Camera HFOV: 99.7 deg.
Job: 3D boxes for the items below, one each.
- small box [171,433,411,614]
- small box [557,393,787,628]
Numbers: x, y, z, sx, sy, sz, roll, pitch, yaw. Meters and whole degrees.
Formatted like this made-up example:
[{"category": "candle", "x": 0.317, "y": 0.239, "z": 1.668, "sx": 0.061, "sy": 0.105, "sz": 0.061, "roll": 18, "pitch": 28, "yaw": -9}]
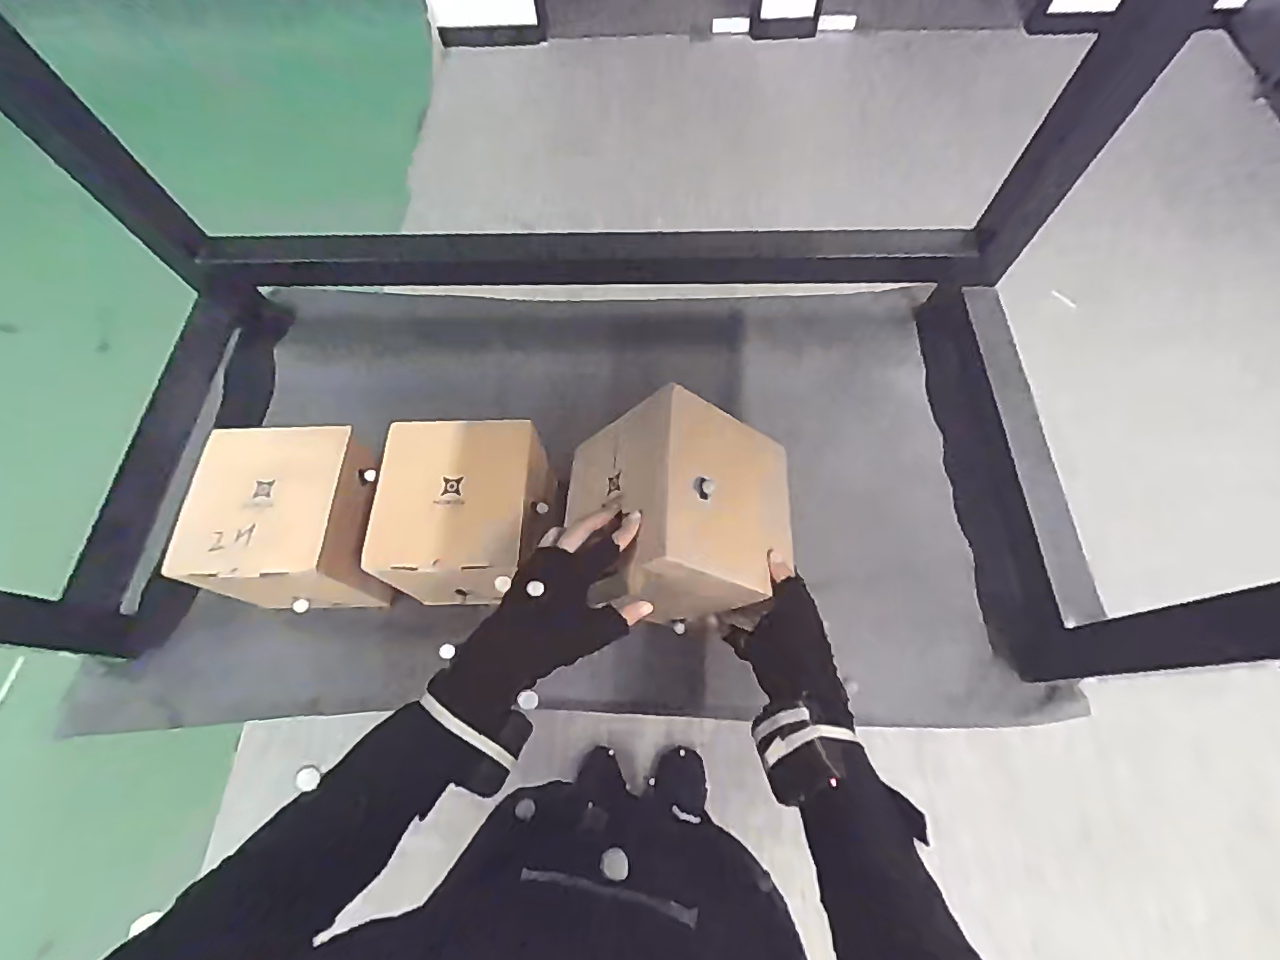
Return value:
[{"category": "small box", "x": -0.402, "y": 0.058, "z": 0.665, "sx": 0.168, "sy": 0.176, "sz": 0.179, "roll": -1, "pitch": 64, "yaw": 2}, {"category": "small box", "x": 0.037, "y": 0.047, "z": 0.564, "sx": 0.176, "sy": 0.168, "sz": 0.179, "roll": 27, "pitch": 52, "yaw": -34}]
